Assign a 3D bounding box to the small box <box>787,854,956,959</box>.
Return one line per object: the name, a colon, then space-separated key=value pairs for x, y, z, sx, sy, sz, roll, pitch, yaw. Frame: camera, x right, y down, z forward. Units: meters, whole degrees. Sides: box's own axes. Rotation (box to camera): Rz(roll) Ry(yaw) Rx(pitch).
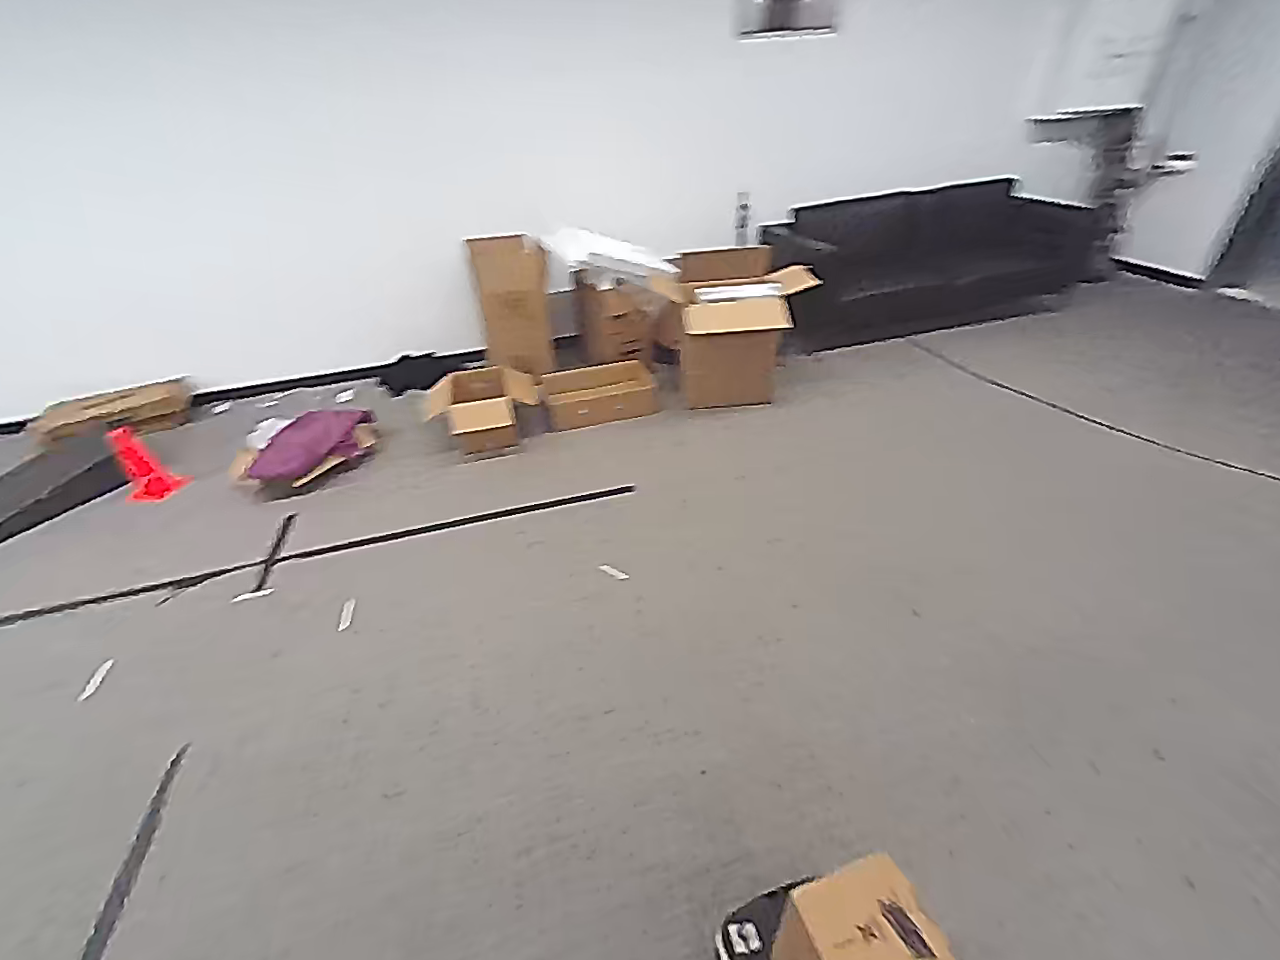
small box: x=0.346 y=0.722 z=0.829 sx=0.179 sy=0.176 sz=0.168 roll=-13 pitch=36 yaw=-12
